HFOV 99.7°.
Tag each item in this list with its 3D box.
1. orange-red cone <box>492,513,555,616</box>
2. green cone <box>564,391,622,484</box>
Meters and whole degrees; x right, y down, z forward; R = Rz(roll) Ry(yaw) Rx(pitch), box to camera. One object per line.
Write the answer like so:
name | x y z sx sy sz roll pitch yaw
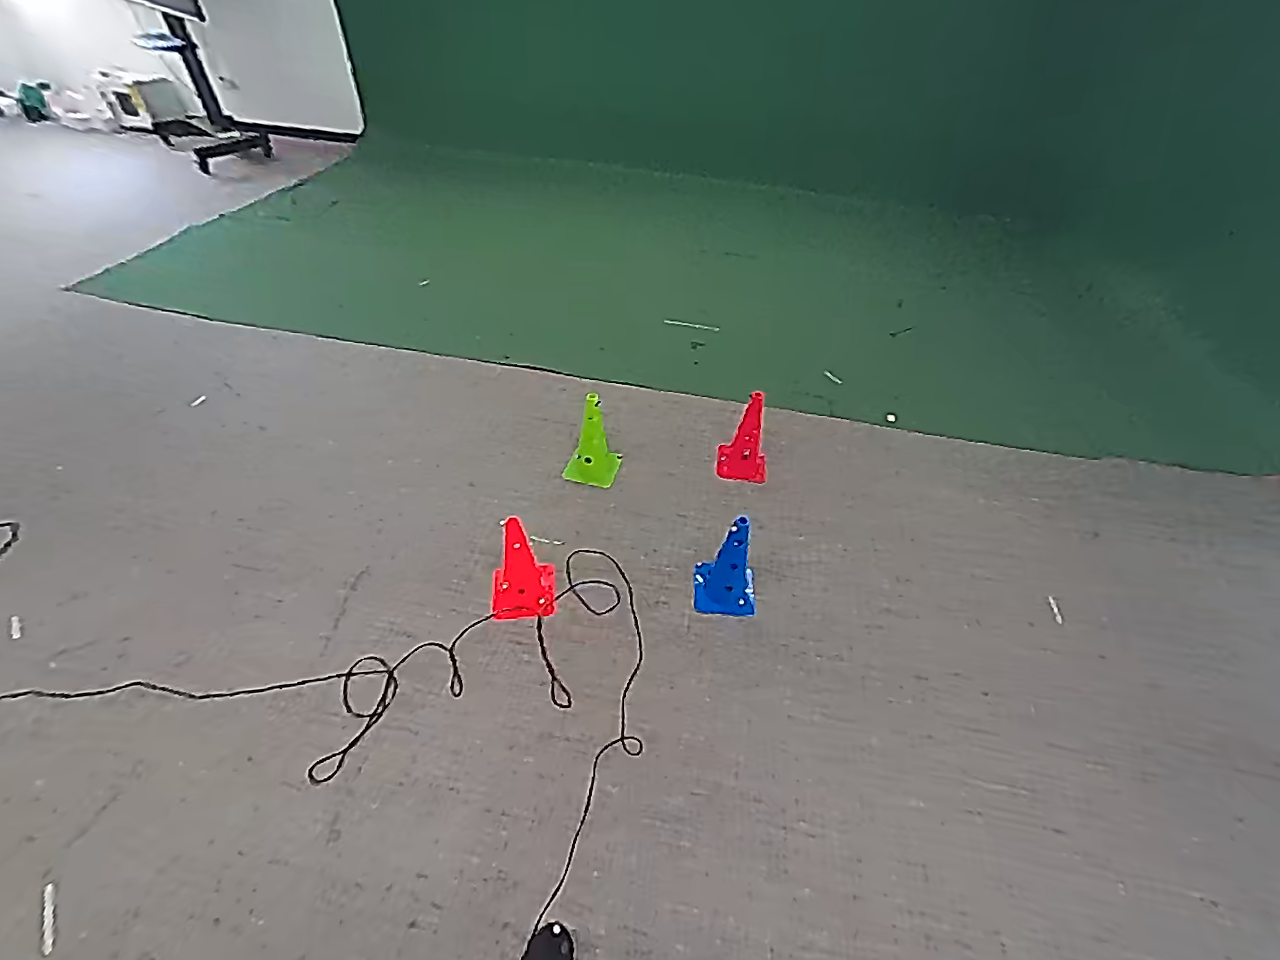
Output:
orange-red cone | -0.364 0.230 1.641 0.198 0.360 0.199 -2 44 -8
green cone | -0.183 -0.189 2.063 0.200 0.368 0.202 11 47 8
